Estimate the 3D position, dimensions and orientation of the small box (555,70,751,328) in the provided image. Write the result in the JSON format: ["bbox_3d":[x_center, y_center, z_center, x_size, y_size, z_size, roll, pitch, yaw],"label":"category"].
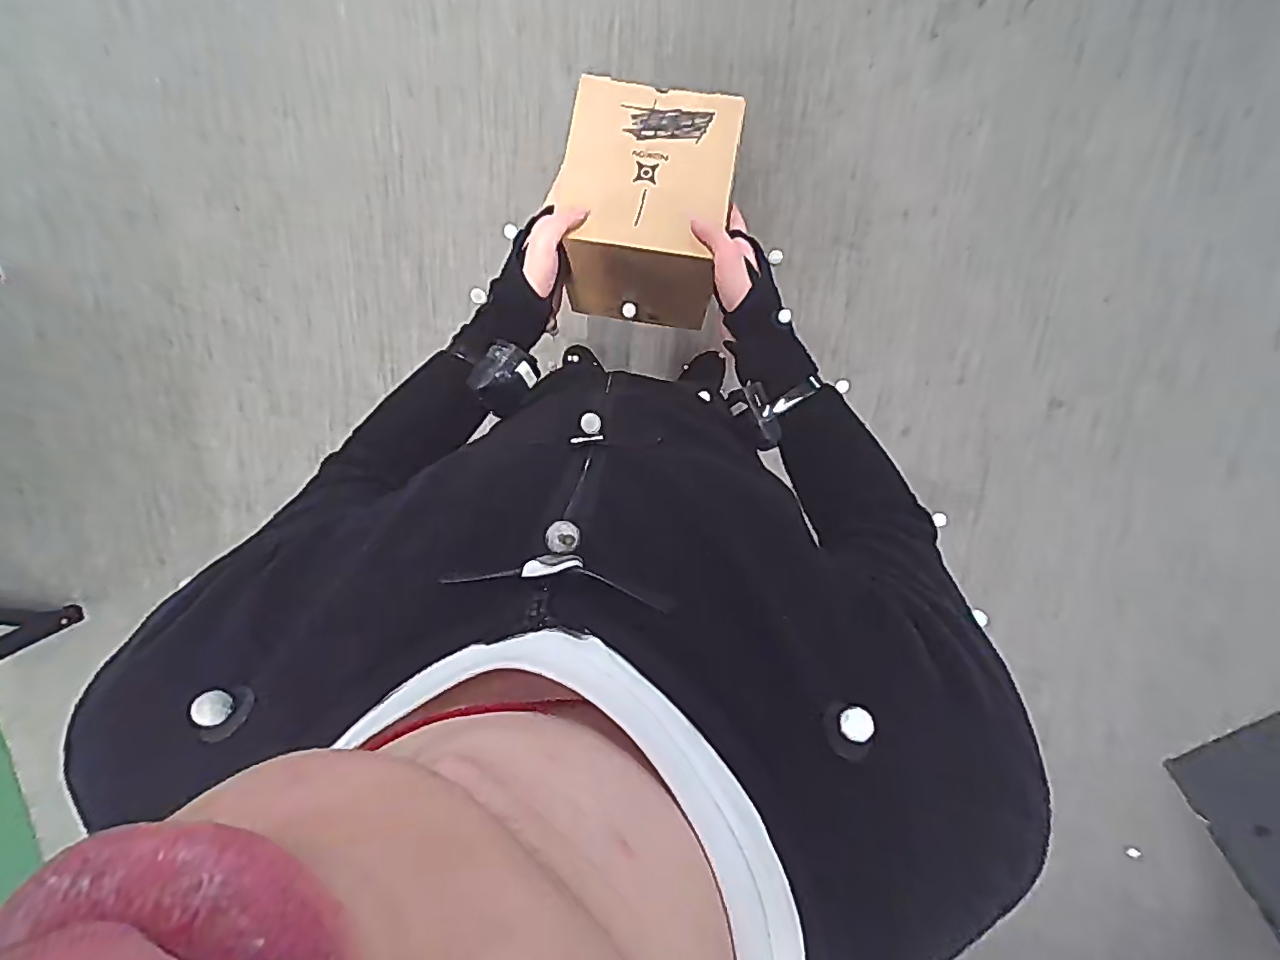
[{"bbox_3d":[0.014,-0.294,0.596,0.168,0.176,0.179,10,82,2],"label":"small box"}]
